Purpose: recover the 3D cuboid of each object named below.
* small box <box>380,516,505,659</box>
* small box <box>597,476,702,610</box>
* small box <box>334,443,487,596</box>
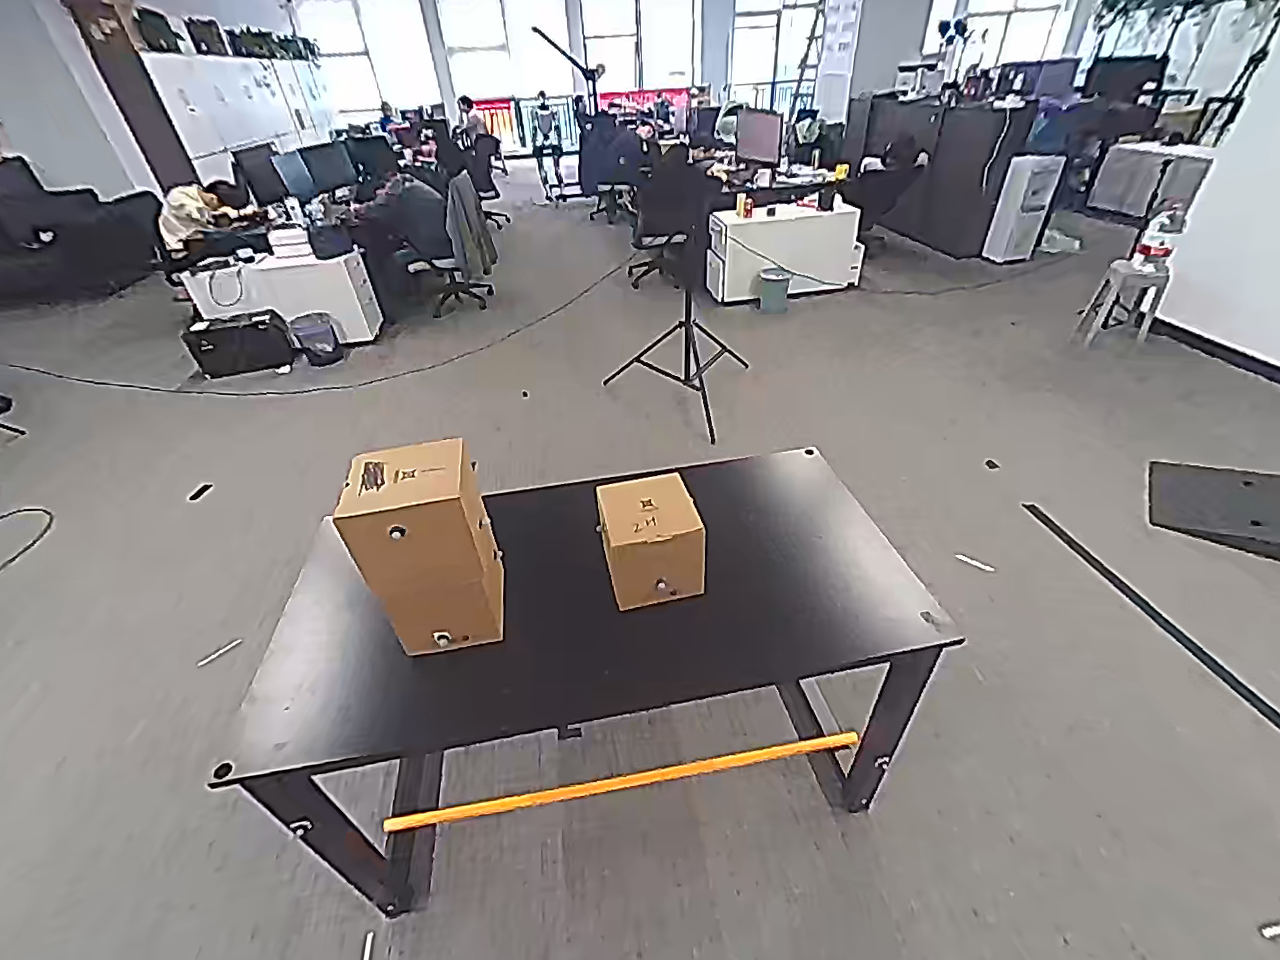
[{"bbox_3d":[-0.345,0.192,0.981,0.168,0.176,0.179,-10,38,-7],"label":"small box"},{"bbox_3d":[0.016,0.119,1.039,0.168,0.176,0.179,-11,37,-8],"label":"small box"},{"bbox_3d":[-0.356,0.065,0.876,0.179,0.176,0.168,-11,37,-8],"label":"small box"}]
